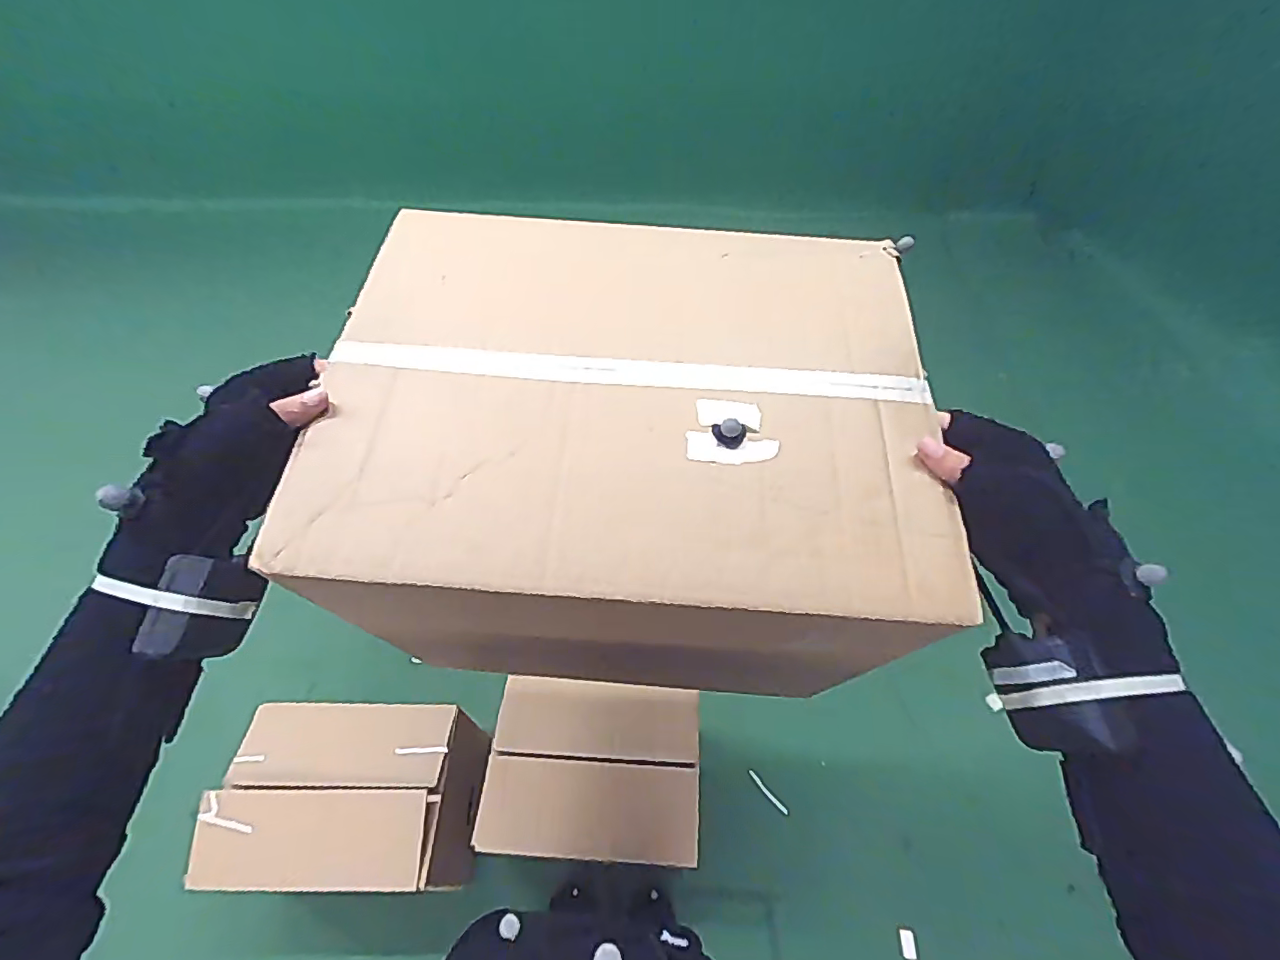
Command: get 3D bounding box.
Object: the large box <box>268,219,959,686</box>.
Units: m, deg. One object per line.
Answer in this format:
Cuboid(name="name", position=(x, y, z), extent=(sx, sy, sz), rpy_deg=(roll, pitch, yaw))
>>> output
Cuboid(name="large box", position=(-0.013, 0.000, 0.507), extent=(0.408, 0.320, 0.320), rpy_deg=(5, 62, 0))
